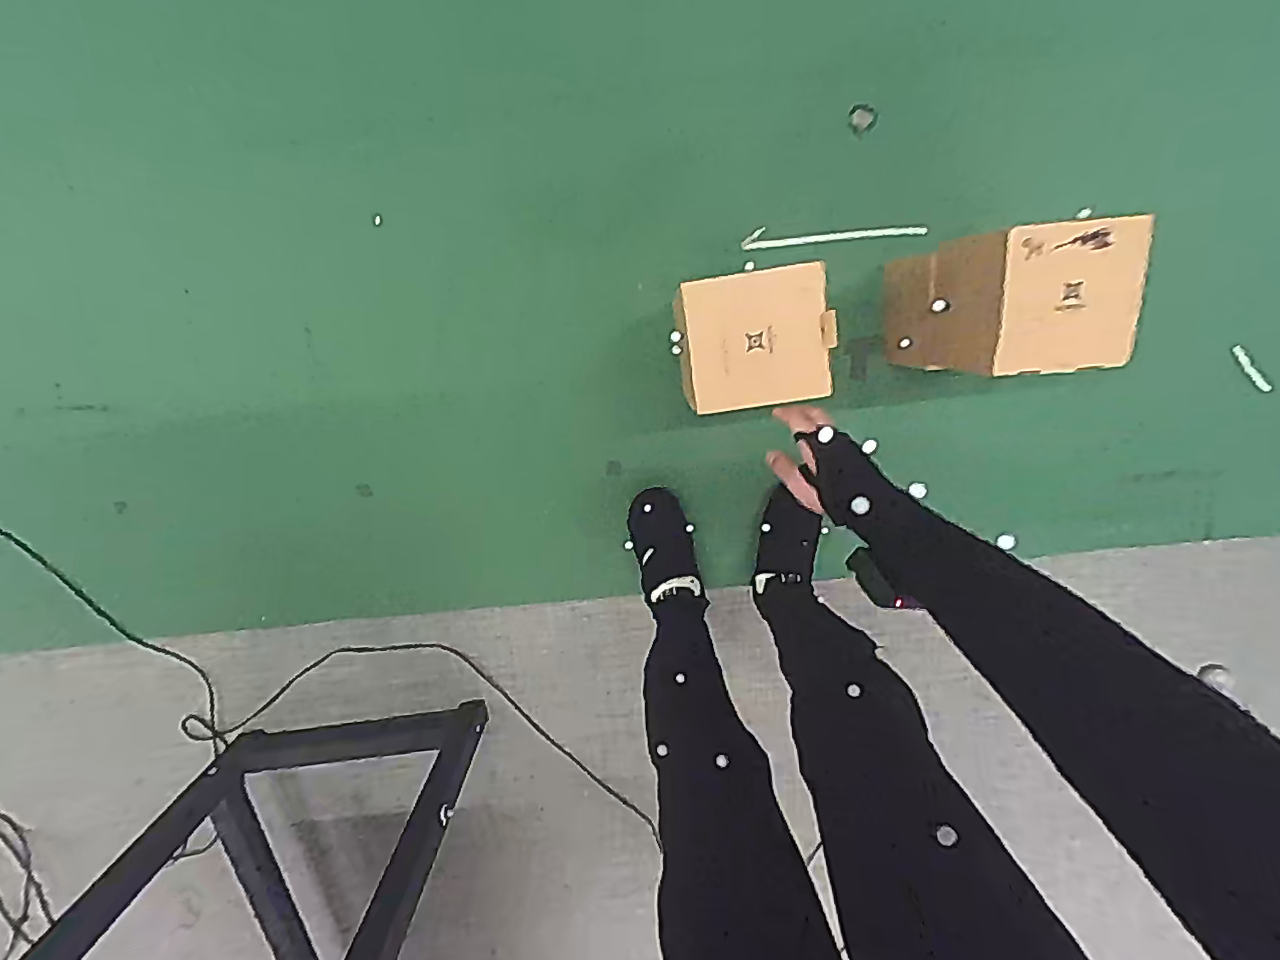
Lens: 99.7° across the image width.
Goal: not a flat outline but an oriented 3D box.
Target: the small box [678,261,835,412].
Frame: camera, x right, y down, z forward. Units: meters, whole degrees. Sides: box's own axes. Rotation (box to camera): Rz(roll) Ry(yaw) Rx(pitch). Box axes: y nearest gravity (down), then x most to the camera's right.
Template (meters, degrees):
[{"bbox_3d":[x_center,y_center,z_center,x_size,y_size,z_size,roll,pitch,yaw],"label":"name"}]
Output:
[{"bbox_3d":[0.152,-0.196,0.743,0.179,0.176,0.168,-8,105,4],"label":"small box"}]

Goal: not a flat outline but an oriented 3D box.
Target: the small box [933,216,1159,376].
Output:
[{"bbox_3d":[0.518,-0.242,0.722,0.168,0.176,0.179,-4,108,1],"label":"small box"}]
